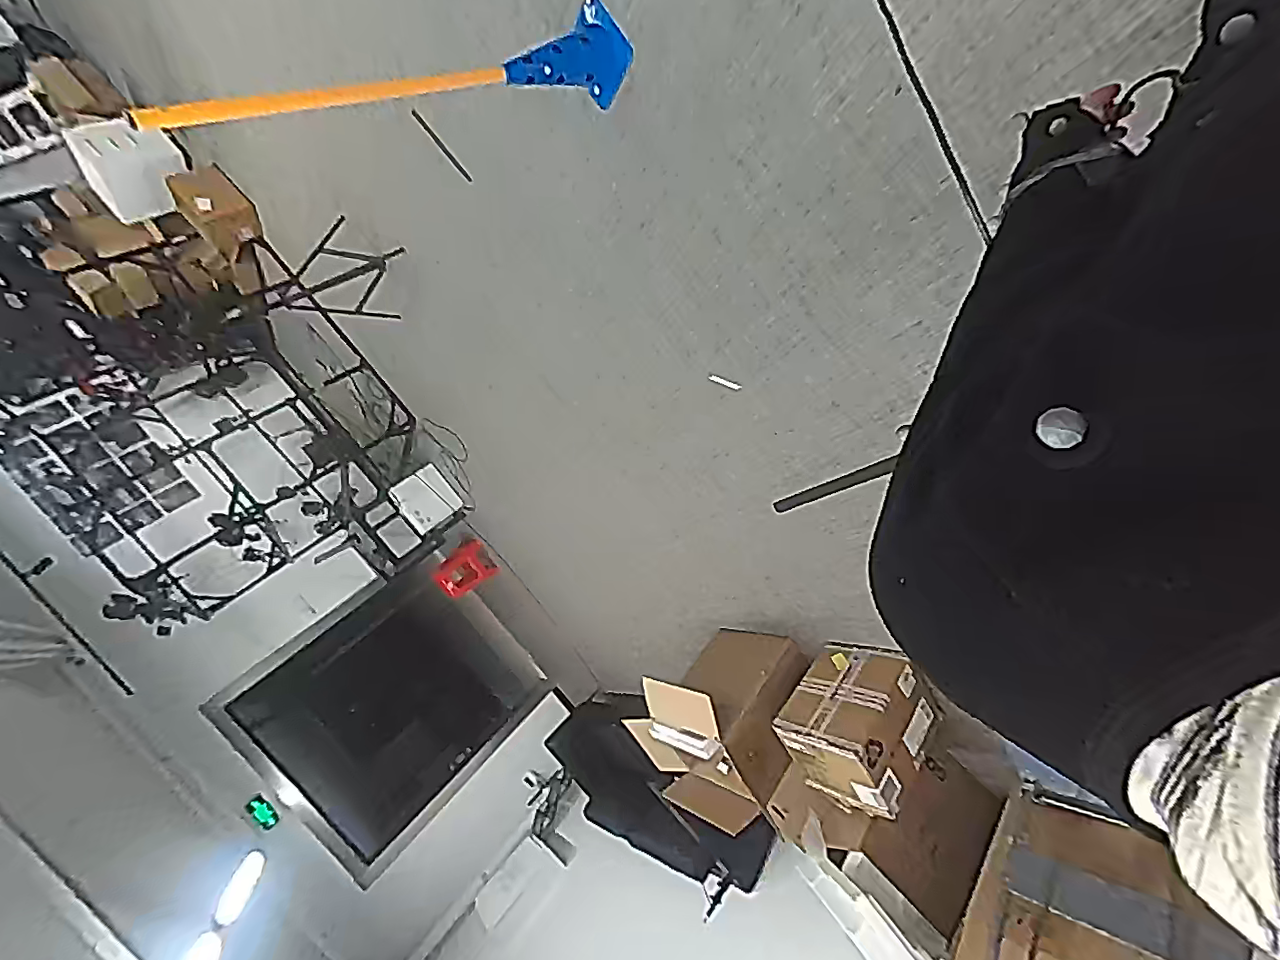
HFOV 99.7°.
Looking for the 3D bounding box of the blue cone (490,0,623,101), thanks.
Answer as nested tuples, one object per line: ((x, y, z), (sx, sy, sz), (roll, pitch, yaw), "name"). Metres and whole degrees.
((-0.237, -1.127, 1.444), (0.192, 0.380, 0.193), (53, 148, -7), "blue cone")
